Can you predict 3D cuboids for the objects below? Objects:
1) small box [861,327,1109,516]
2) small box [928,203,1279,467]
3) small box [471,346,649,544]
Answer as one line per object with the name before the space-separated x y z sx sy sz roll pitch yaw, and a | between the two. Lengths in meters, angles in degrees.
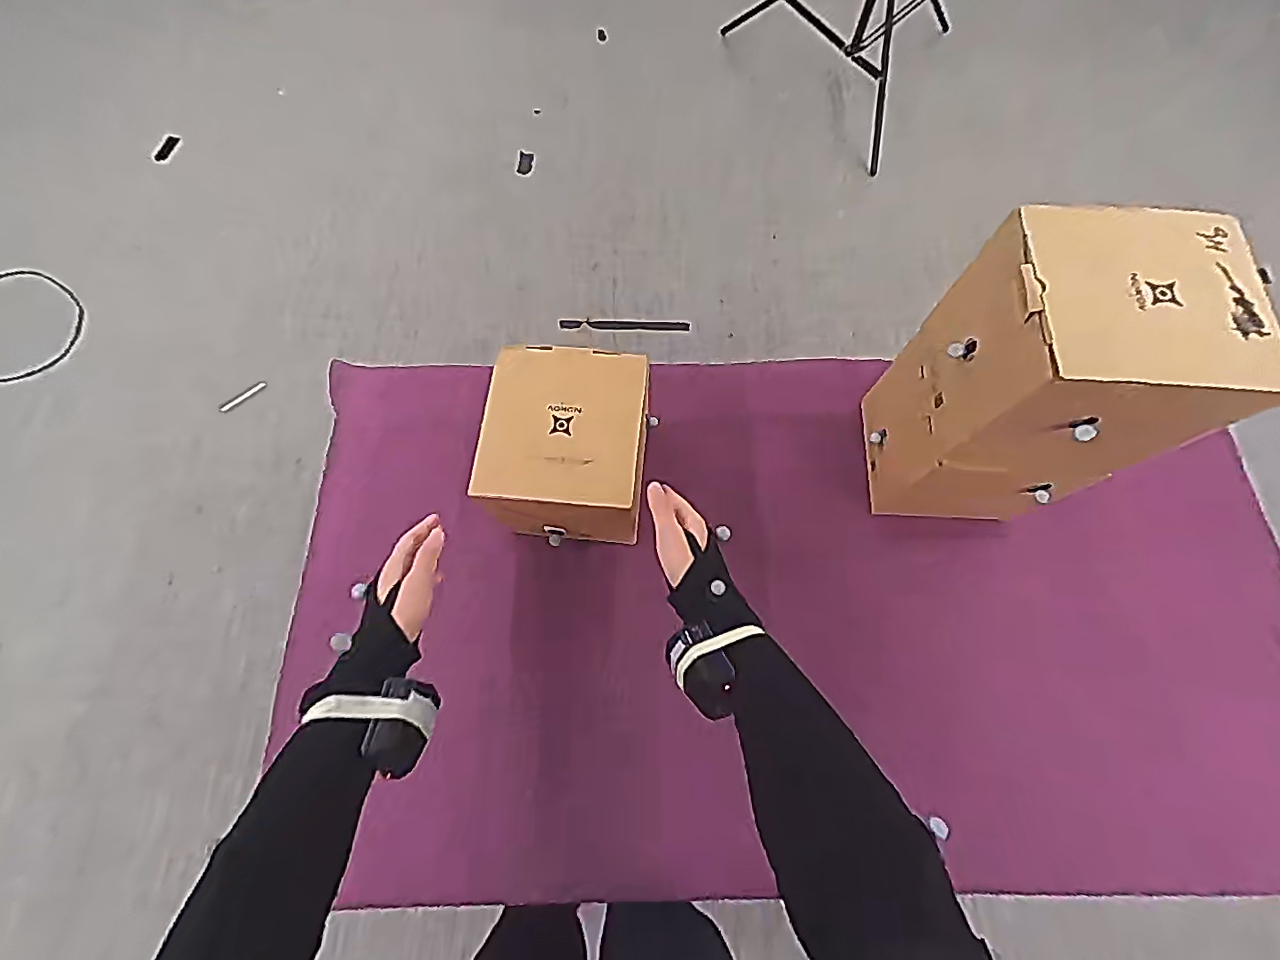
small box | 0.385 -0.059 0.641 0.179 0.176 0.168 2 70 1
small box | 0.384 -0.118 0.487 0.179 0.176 0.168 3 70 2
small box | -0.079 -0.033 0.632 0.168 0.176 0.179 4 71 3
